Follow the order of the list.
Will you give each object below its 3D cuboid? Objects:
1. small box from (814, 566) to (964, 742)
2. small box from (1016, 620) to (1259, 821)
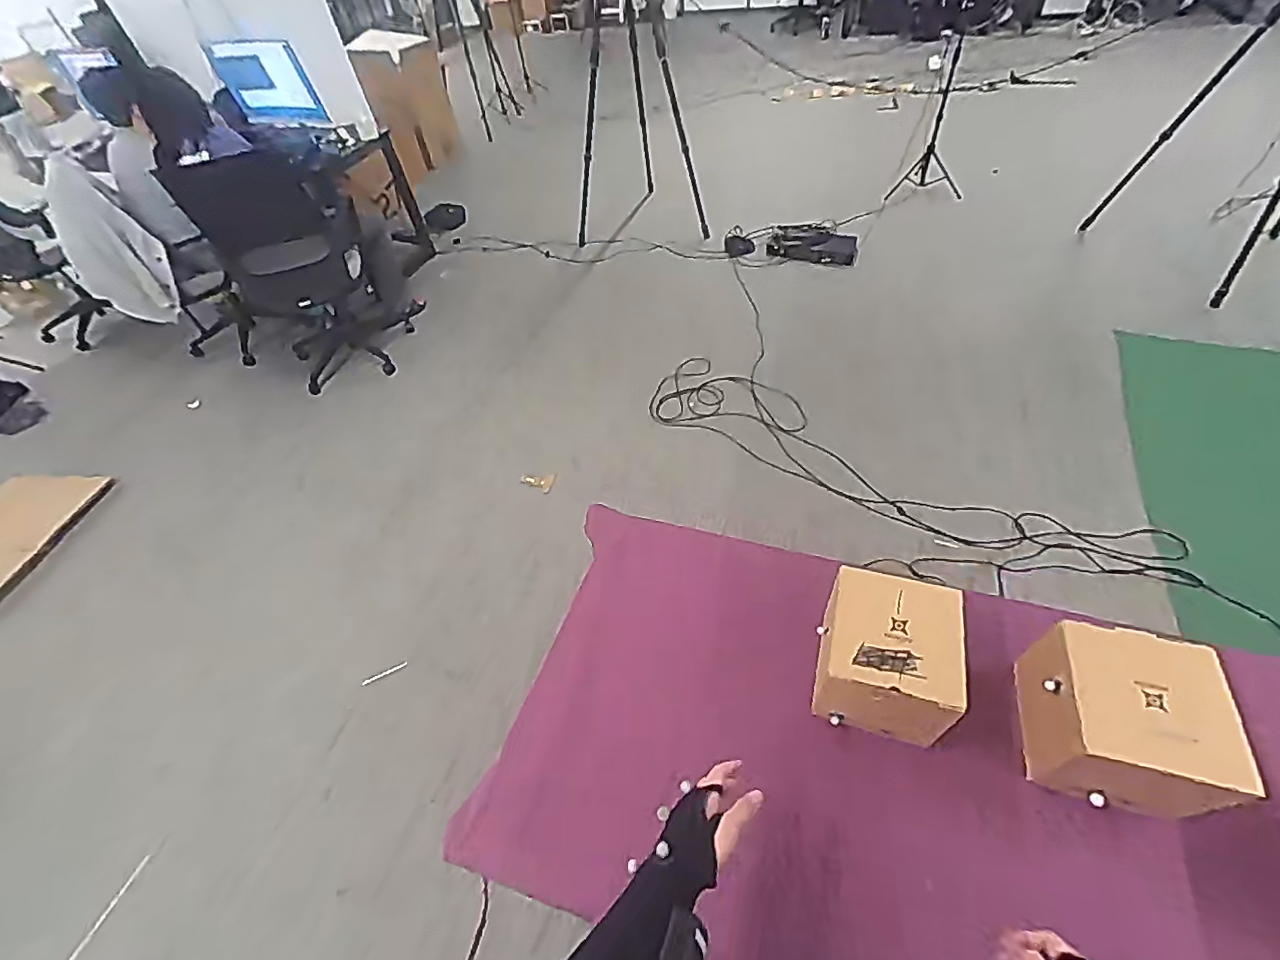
[{"bbox_3d":[0.359,0.259,0.796,0.168,0.176,0.179,11,52,17],"label":"small box"},{"bbox_3d":[0.625,0.317,0.713,0.168,0.176,0.179,10,53,17],"label":"small box"}]
